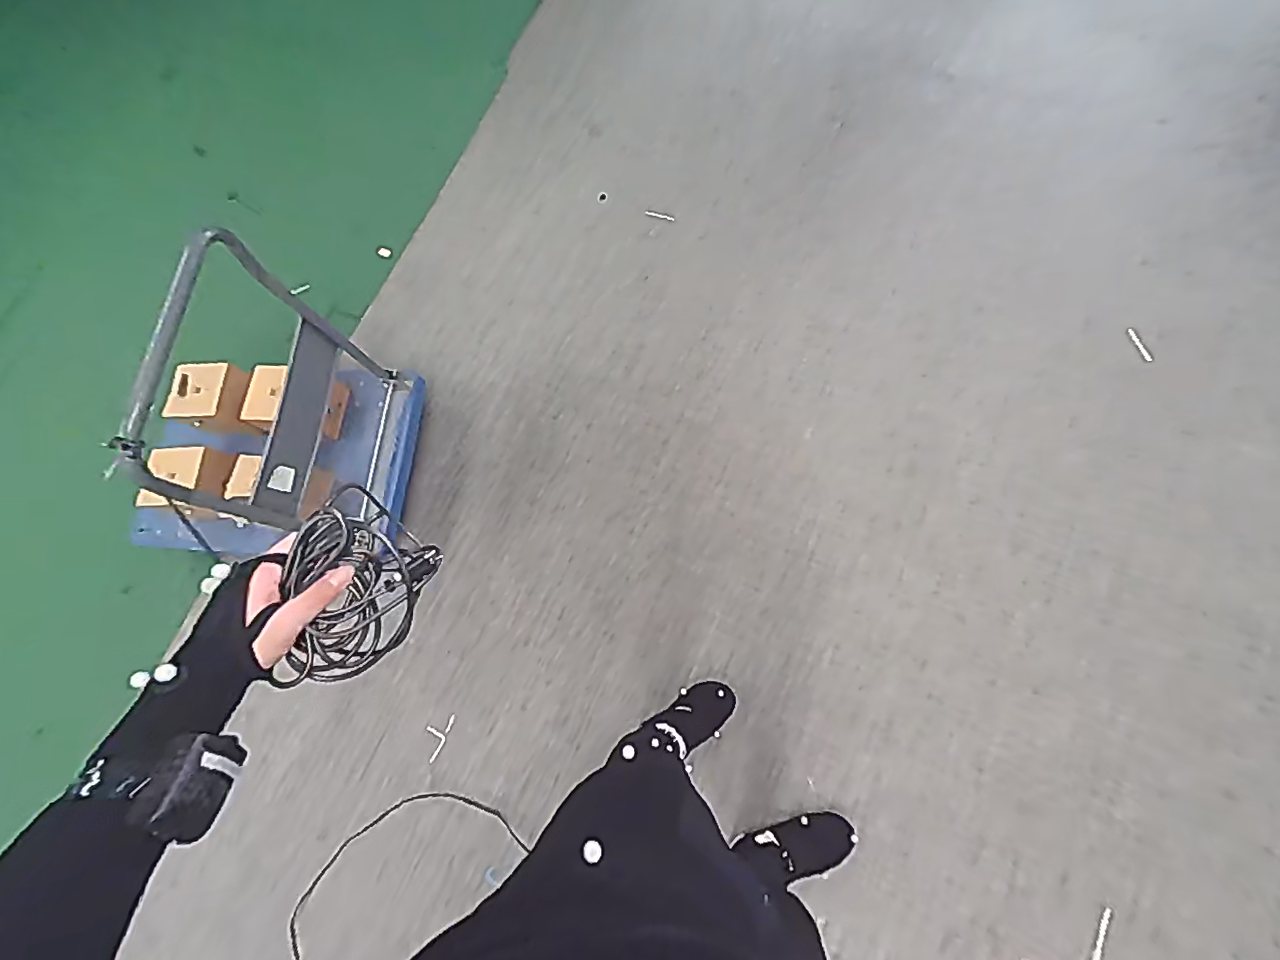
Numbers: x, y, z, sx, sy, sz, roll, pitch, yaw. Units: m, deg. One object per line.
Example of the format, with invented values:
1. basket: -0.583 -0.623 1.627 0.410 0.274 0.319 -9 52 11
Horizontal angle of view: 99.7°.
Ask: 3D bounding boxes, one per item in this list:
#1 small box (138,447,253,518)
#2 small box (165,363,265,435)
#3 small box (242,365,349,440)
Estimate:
1. small box: -1.259 0.011 1.547 0.179 0.176 0.168 -2 73 10
2. small box: -1.248 -0.237 1.617 0.179 0.176 0.168 0 74 10
3. small box: -0.990 -0.220 1.565 0.179 0.176 0.168 3 74 11
